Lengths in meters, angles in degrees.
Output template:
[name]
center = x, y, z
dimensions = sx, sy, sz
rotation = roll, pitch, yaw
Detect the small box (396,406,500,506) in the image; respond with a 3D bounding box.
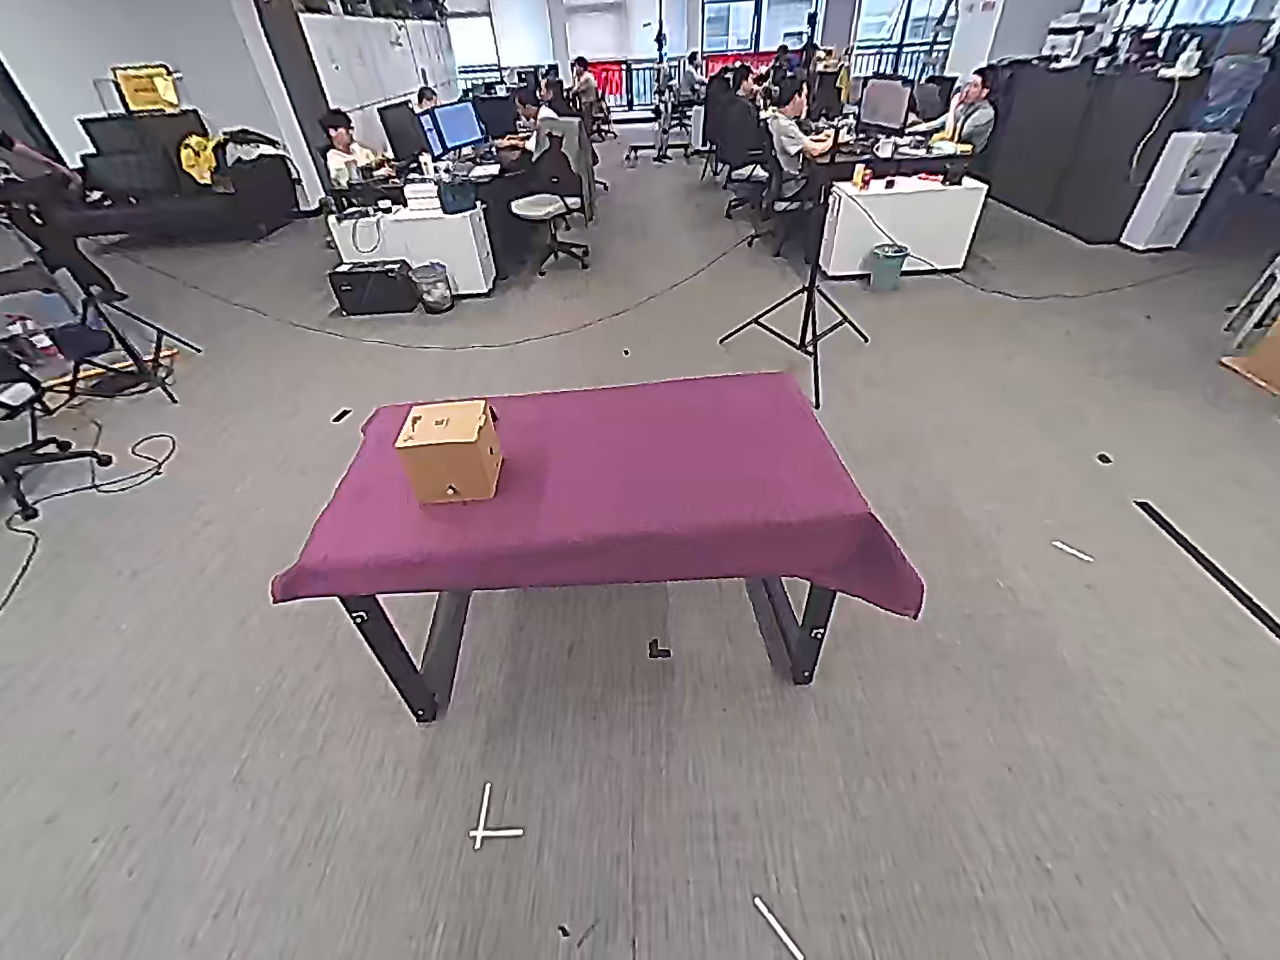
[small box]
center = -0.434, -0.055, 1.258
dimensions = 0.179, 0.176, 0.168
rotation = -4, 39, -2
